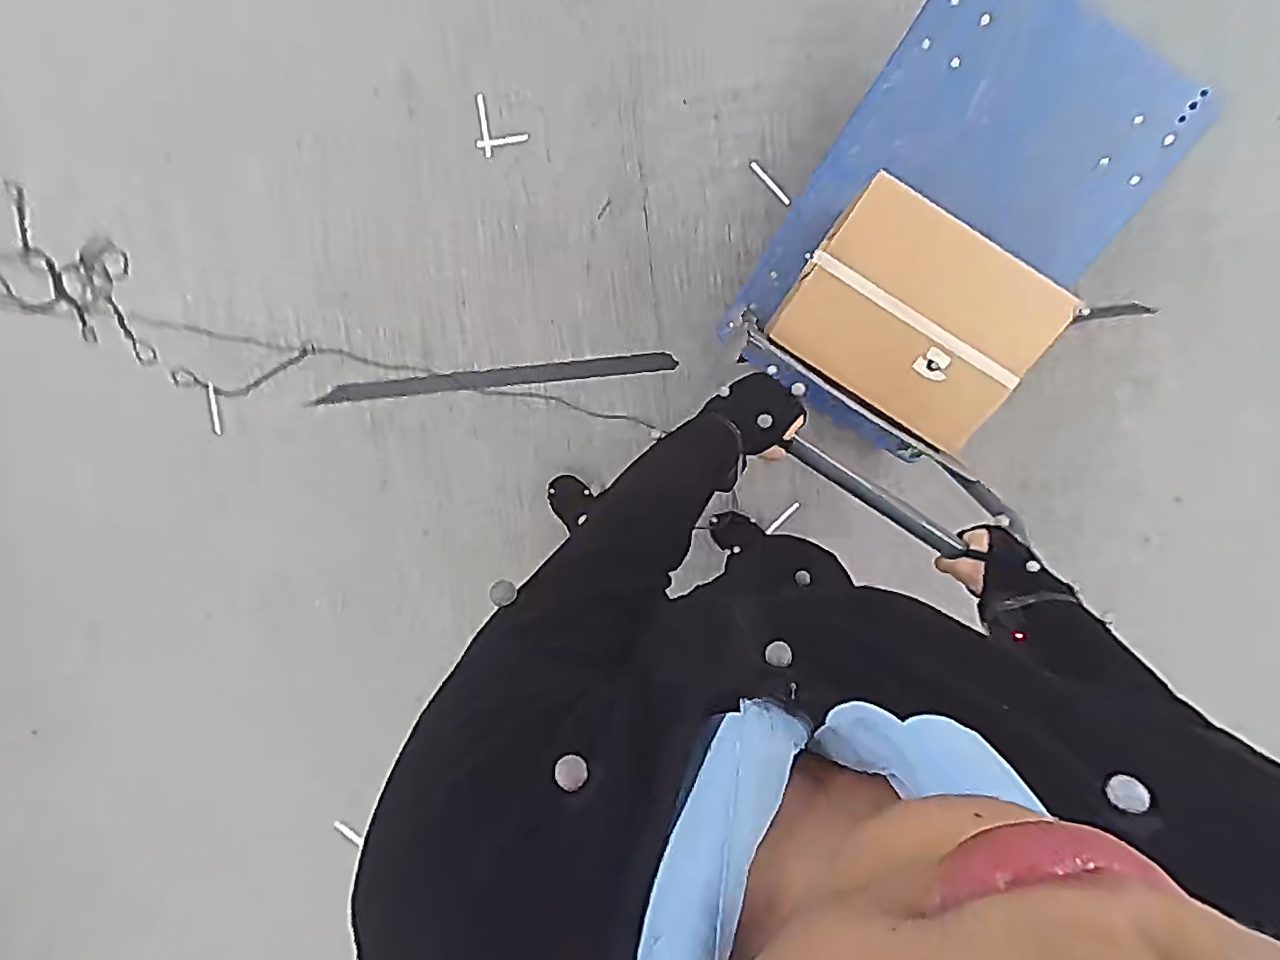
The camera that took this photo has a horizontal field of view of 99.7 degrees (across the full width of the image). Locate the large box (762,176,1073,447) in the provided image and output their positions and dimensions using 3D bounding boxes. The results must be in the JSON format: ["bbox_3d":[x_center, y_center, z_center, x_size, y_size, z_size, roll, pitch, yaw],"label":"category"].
[{"bbox_3d":[0.504,-0.325,1.088,0.408,0.320,0.320,33,109,-1],"label":"large box"}]
